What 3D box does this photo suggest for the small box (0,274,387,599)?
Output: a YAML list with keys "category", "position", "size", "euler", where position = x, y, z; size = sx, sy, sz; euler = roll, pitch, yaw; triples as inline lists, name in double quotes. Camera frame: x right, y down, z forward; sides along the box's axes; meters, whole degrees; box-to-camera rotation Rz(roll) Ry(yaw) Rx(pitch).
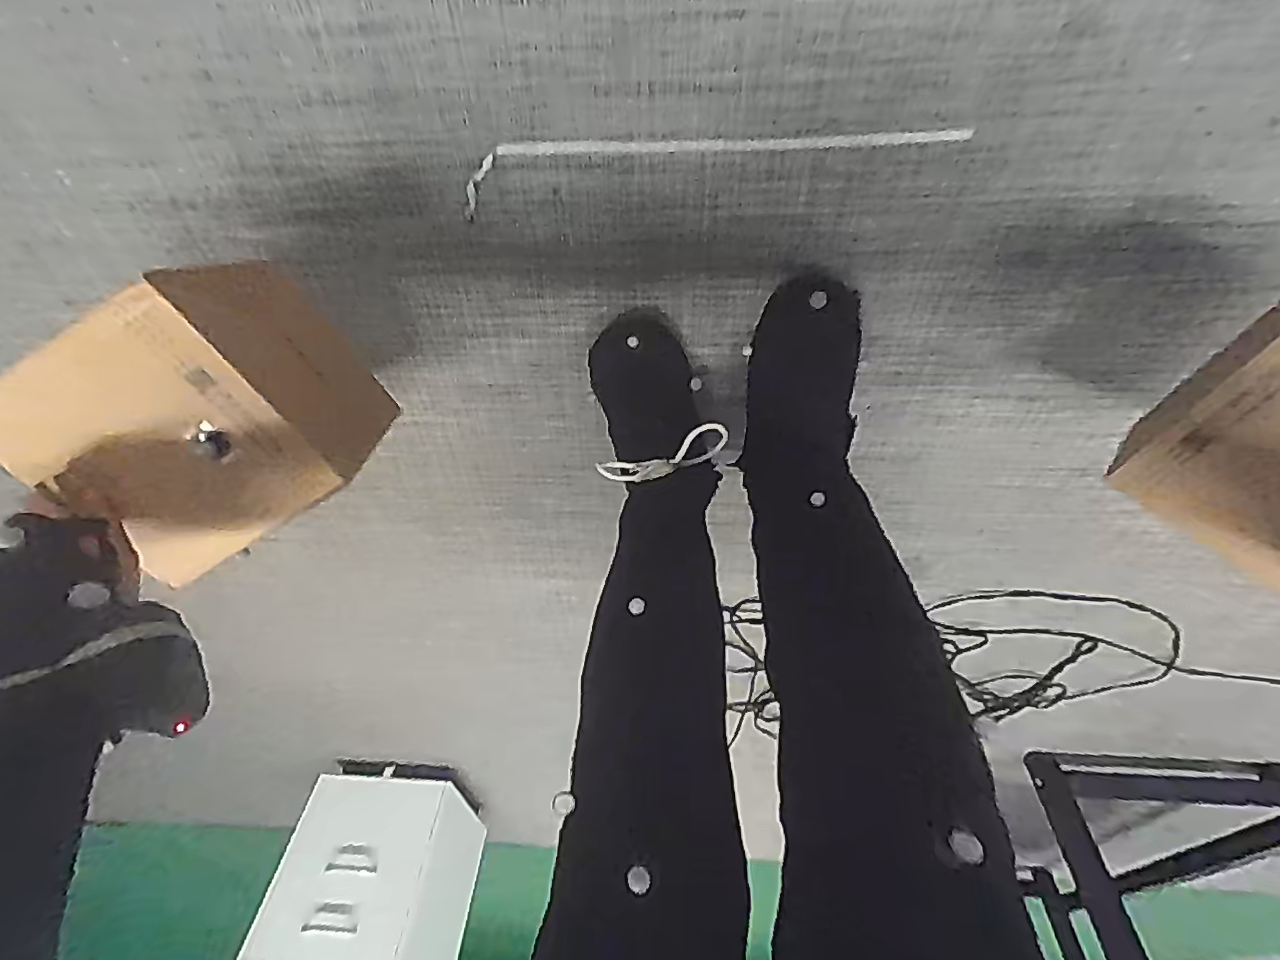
- category: "small box"
  position: [-0.335, -0.046, 0.434]
  size: [0.176, 0.179, 0.168]
  euler: [-31, 116, 3]
